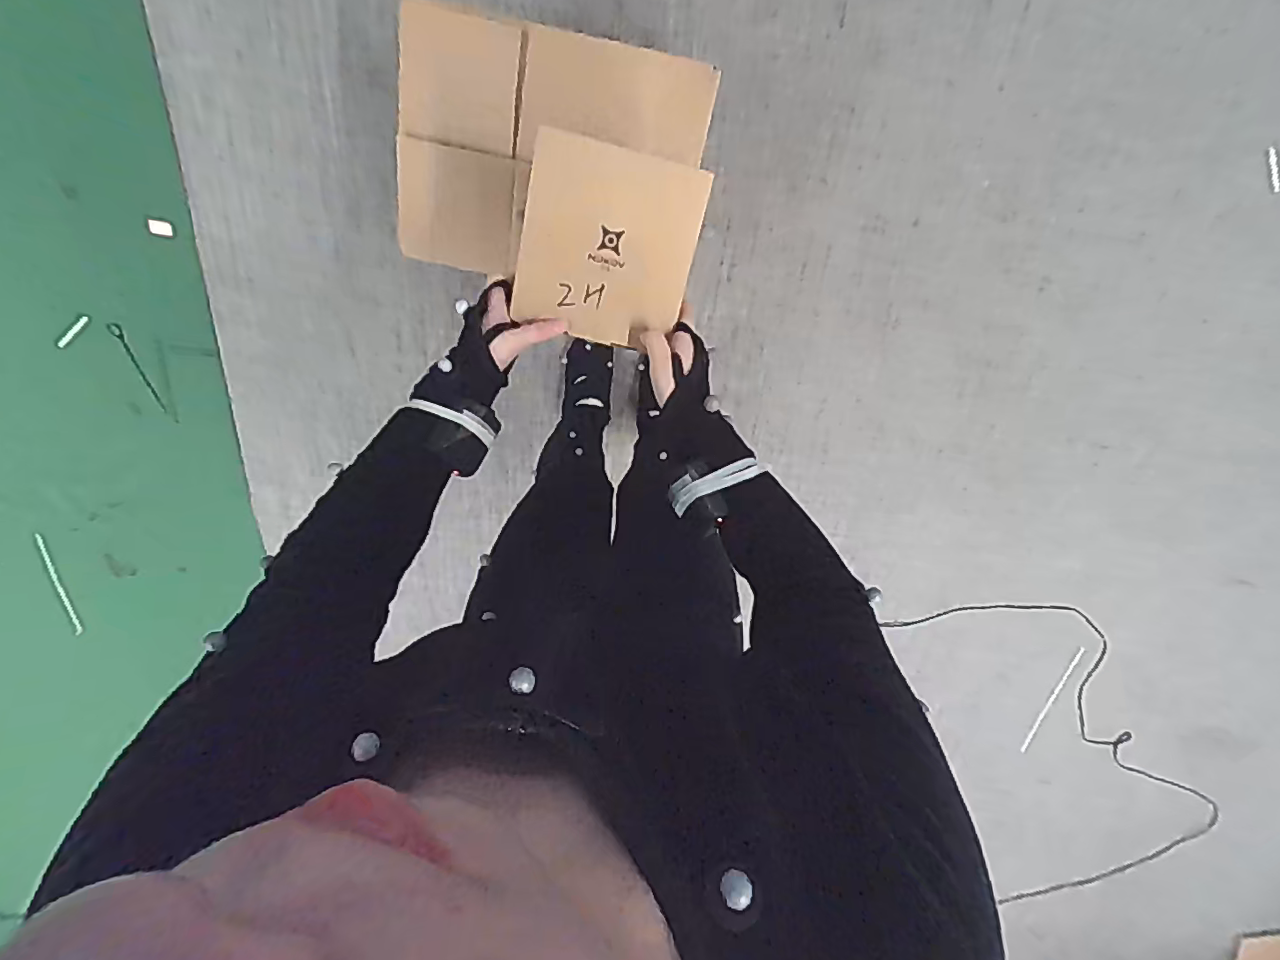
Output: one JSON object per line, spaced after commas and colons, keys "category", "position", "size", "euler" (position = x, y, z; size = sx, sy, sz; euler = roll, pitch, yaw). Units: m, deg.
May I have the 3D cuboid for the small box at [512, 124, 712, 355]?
{"category": "small box", "position": [-0.032, -0.253, 0.598], "size": [0.168, 0.176, 0.179], "euler": [13, 110, -5]}
